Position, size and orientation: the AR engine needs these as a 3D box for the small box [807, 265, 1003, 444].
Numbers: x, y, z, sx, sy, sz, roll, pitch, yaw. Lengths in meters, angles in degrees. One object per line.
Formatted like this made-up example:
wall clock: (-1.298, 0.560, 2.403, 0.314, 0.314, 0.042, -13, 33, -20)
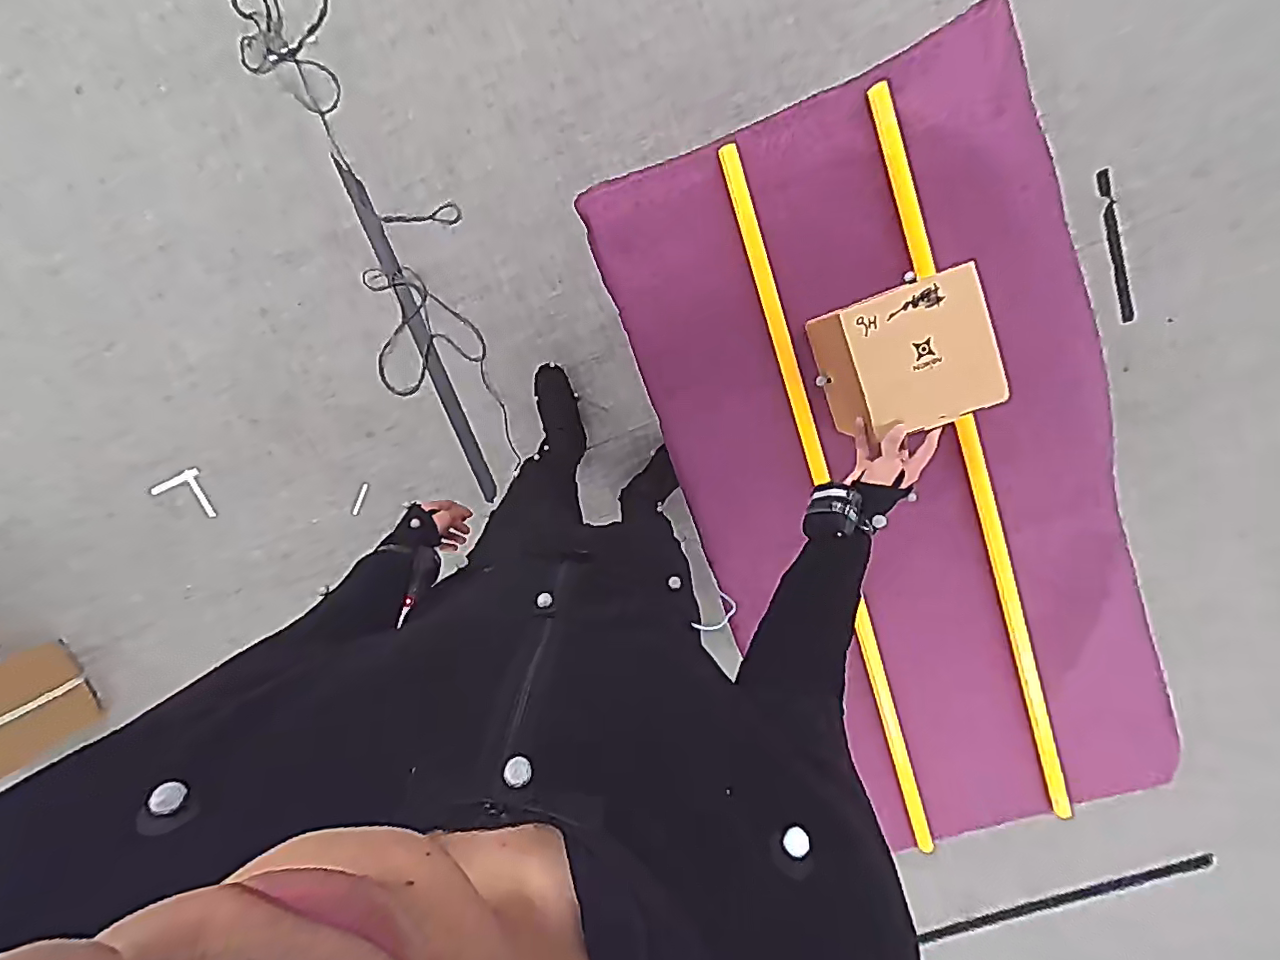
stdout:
small box: (0.346, -0.167, 0.734, 0.168, 0.176, 0.179, -19, 101, 6)
